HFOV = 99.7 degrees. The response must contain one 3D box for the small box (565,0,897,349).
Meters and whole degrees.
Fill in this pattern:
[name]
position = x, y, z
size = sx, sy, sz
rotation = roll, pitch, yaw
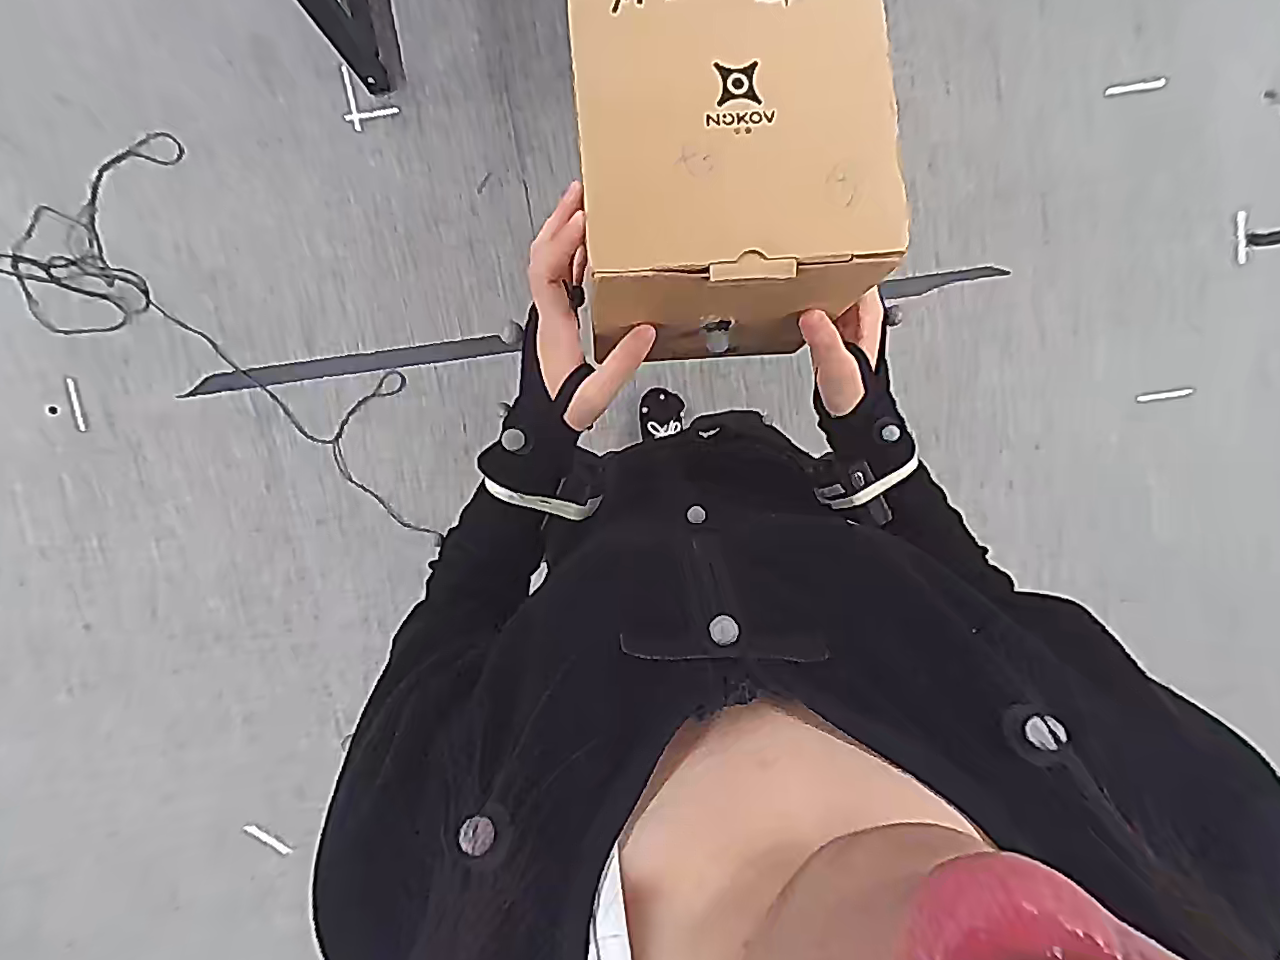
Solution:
[small box]
position = 0.043, -0.192, 0.360
size = 0.168, 0.176, 0.179
rotation = -4, 87, -4
